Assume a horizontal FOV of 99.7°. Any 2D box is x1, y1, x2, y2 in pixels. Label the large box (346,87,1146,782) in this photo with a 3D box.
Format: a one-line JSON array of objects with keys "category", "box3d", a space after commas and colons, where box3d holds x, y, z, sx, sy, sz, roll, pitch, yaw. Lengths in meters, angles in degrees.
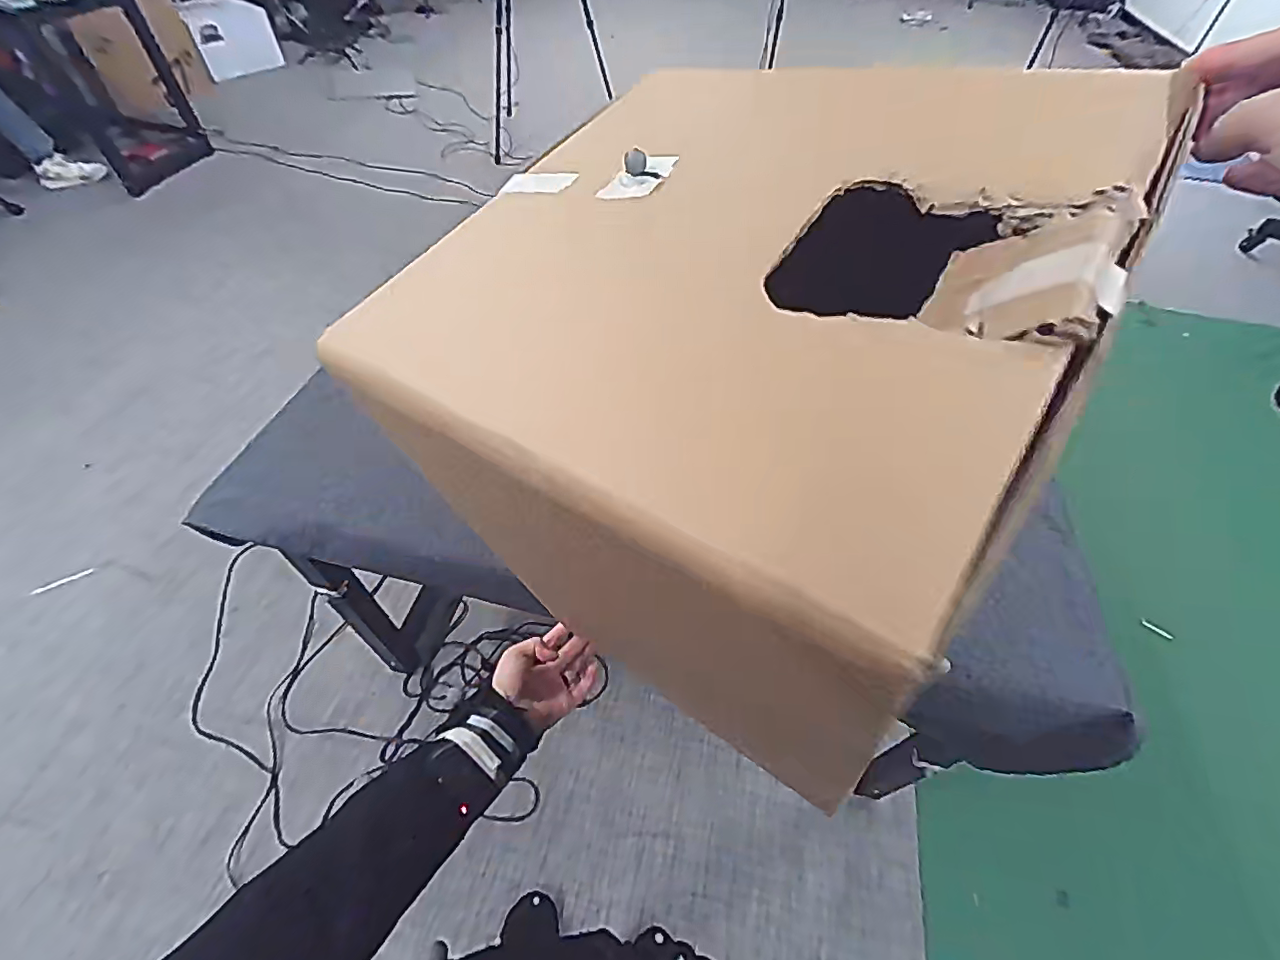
[{"category": "large box", "box3d": [0.081, -0.014, 0.431, 0.320, 0.408, 0.320, 26, 66, 28]}]
